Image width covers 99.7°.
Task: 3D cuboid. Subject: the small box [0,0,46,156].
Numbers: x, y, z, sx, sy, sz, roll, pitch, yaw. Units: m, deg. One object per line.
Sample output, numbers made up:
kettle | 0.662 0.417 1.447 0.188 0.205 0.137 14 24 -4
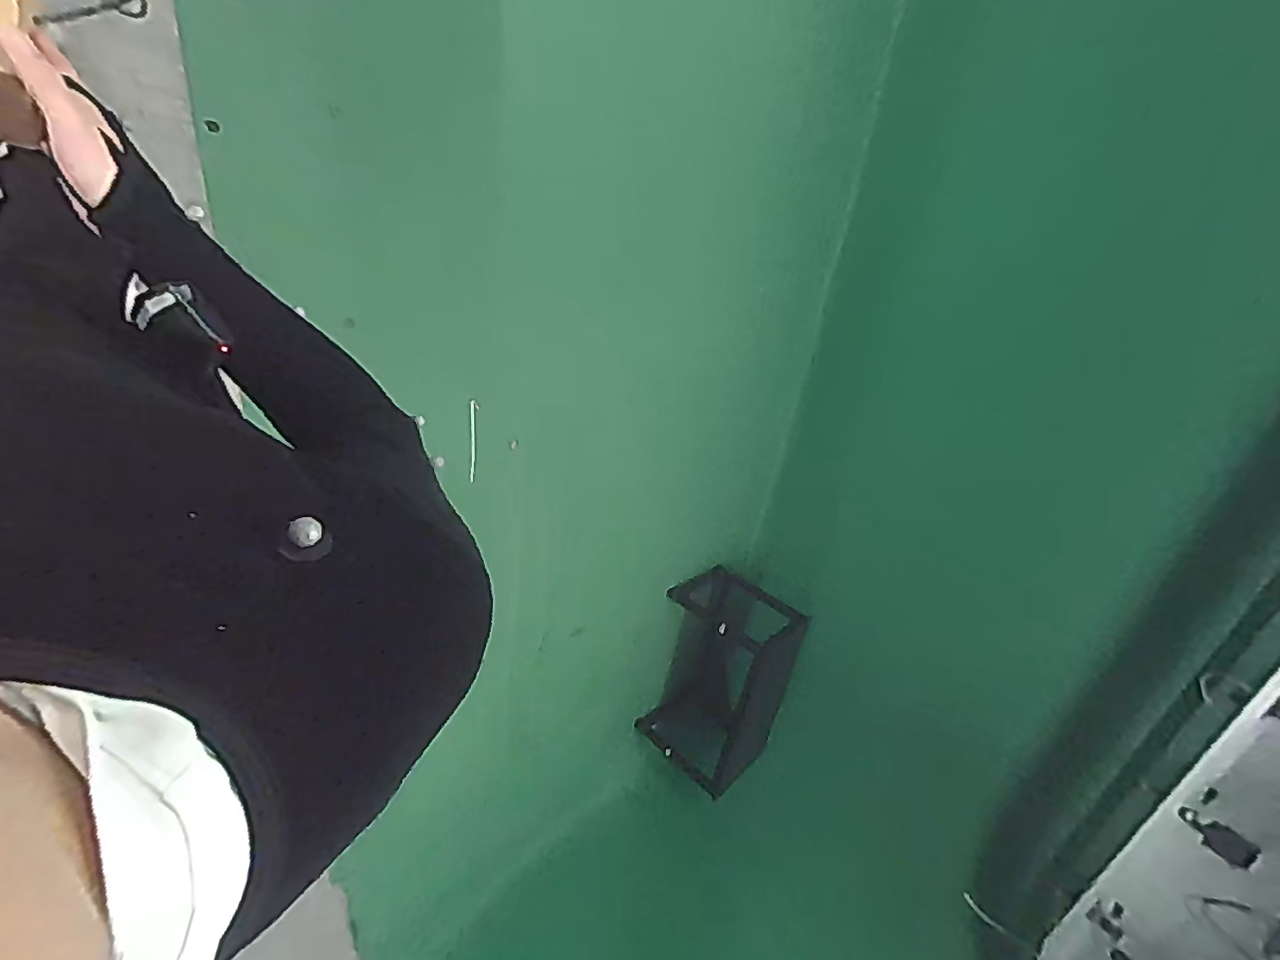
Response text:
small box | -0.529 -0.359 0.363 0.168 0.176 0.179 -2 98 -45
